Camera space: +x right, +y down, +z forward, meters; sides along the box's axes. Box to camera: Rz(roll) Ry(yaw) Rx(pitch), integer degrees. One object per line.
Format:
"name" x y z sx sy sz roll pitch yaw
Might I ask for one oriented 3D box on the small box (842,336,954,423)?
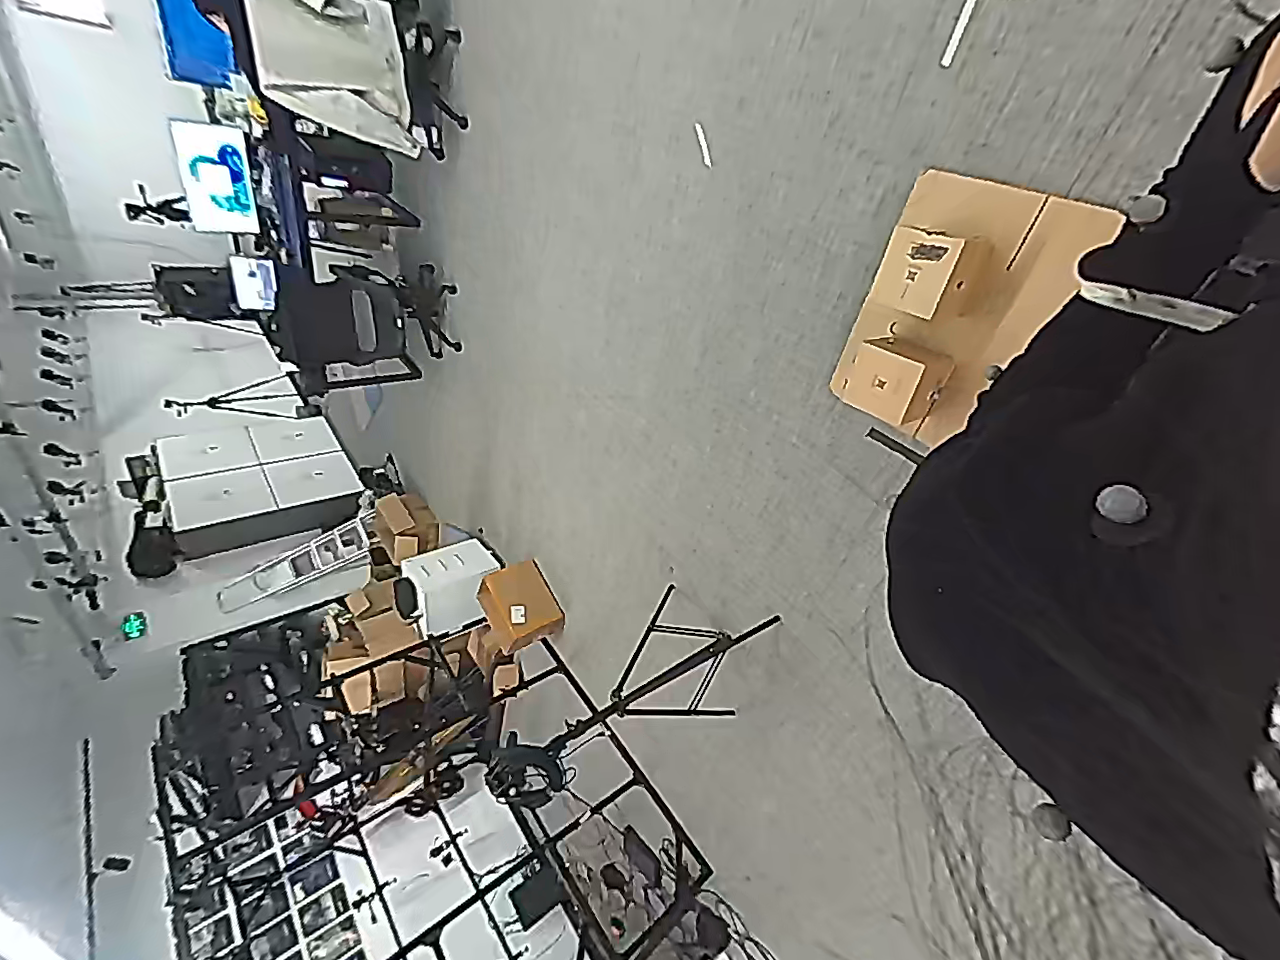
"small box" 0.665 -0.266 1.395 0.179 0.176 0.168 36 130 37

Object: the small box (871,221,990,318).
"small box" 0.688 -0.497 1.276 0.168 0.176 0.179 38 131 37
